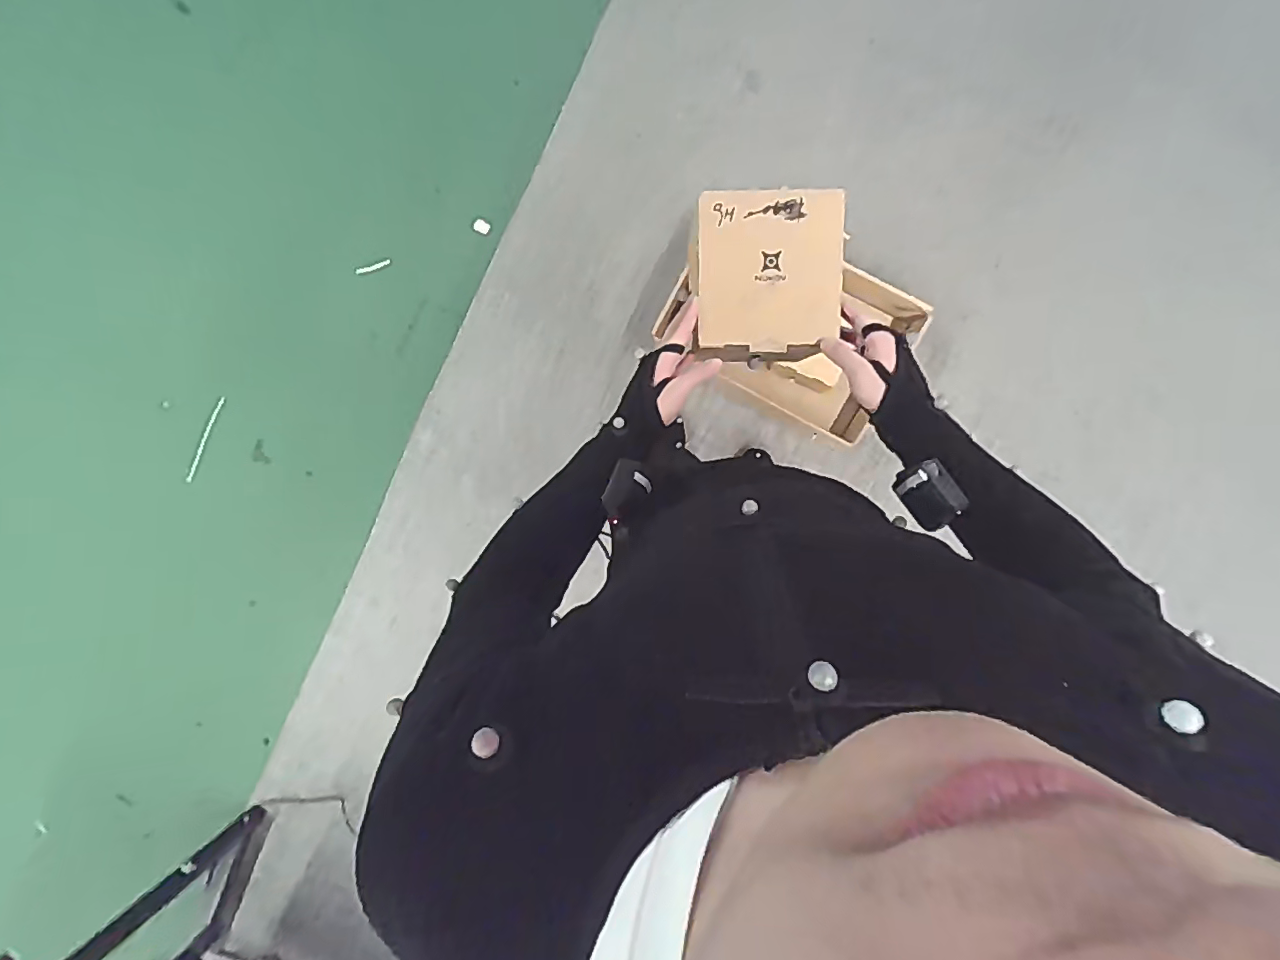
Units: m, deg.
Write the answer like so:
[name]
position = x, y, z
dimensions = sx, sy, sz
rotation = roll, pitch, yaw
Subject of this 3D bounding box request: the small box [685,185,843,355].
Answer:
[small box]
position = 0.146, -0.253, 0.693
dimensions = 0.168, 0.176, 0.179
rotation = 0, 98, 1
